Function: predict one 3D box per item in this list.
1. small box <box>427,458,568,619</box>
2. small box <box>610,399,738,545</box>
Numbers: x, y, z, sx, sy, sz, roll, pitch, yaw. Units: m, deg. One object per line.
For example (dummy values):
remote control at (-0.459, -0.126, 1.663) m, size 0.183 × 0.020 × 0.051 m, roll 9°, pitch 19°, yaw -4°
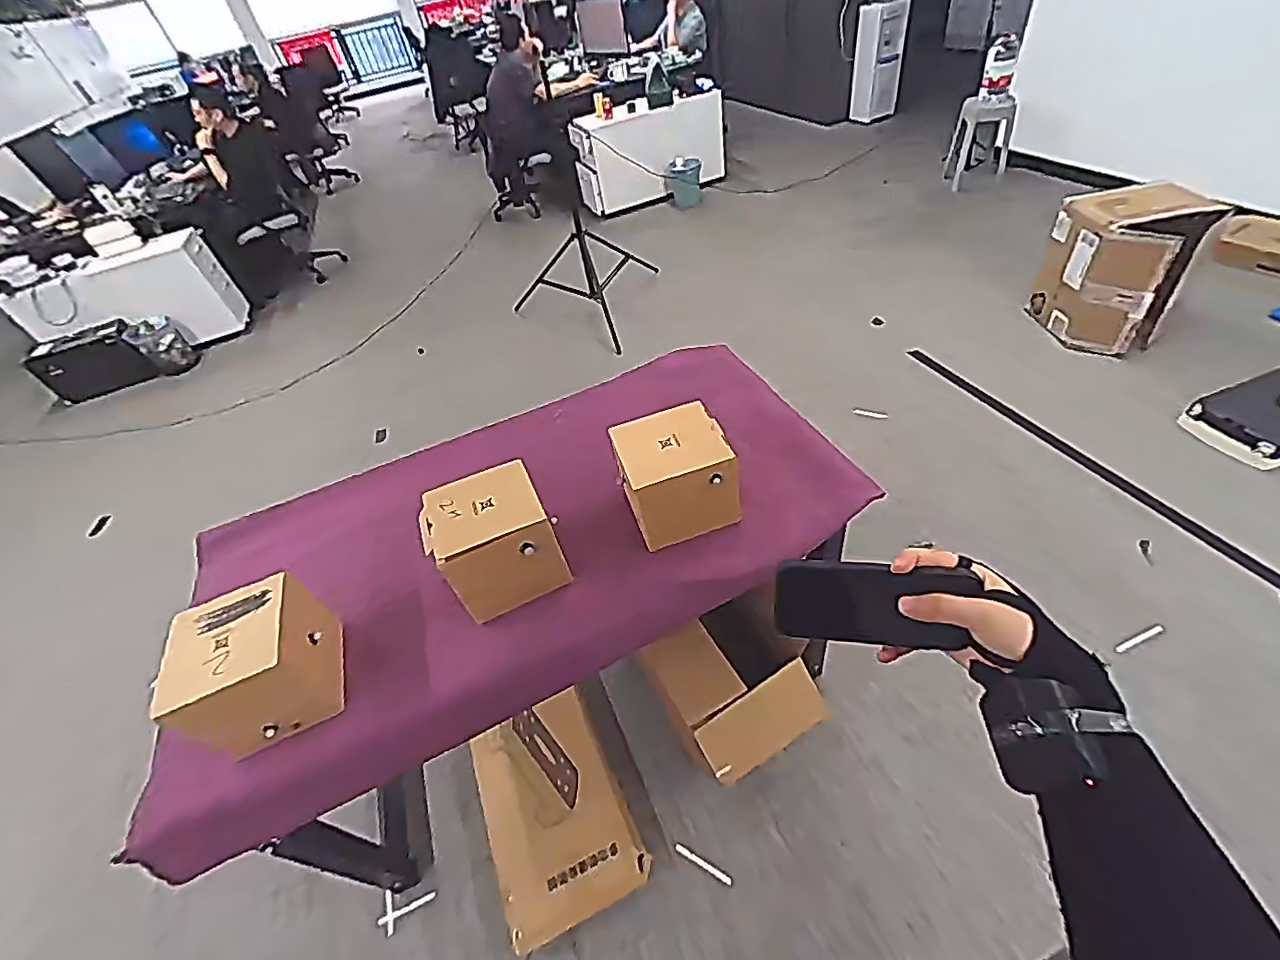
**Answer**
small box at (-0.233, 0.099, 0.914) m, size 0.179 × 0.176 × 0.168 m, roll -24°, pitch 44°, yaw -11°
small box at (0.063, -0.011, 0.958) m, size 0.179 × 0.176 × 0.168 m, roll -18°, pitch 45°, yaw -6°
